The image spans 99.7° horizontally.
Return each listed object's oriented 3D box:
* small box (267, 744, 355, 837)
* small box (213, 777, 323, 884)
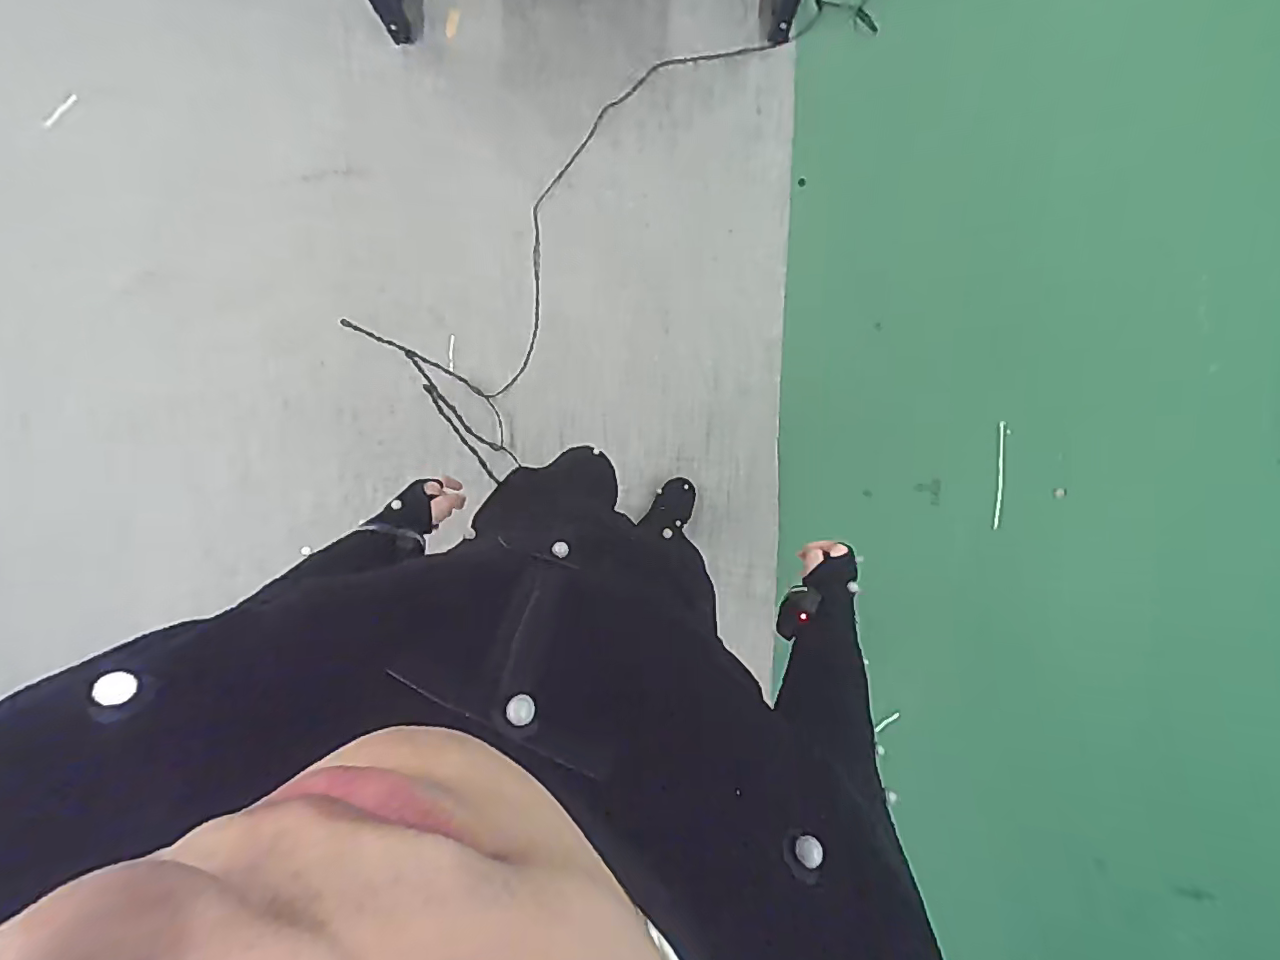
[{"bbox_3d":[-0.951,0.892,1.568,0.168,0.176,0.179,4,93,0],"label":"small box"},{"bbox_3d":[-0.957,0.902,1.404,0.179,0.176,0.168,5,92,-2],"label":"small box"}]
